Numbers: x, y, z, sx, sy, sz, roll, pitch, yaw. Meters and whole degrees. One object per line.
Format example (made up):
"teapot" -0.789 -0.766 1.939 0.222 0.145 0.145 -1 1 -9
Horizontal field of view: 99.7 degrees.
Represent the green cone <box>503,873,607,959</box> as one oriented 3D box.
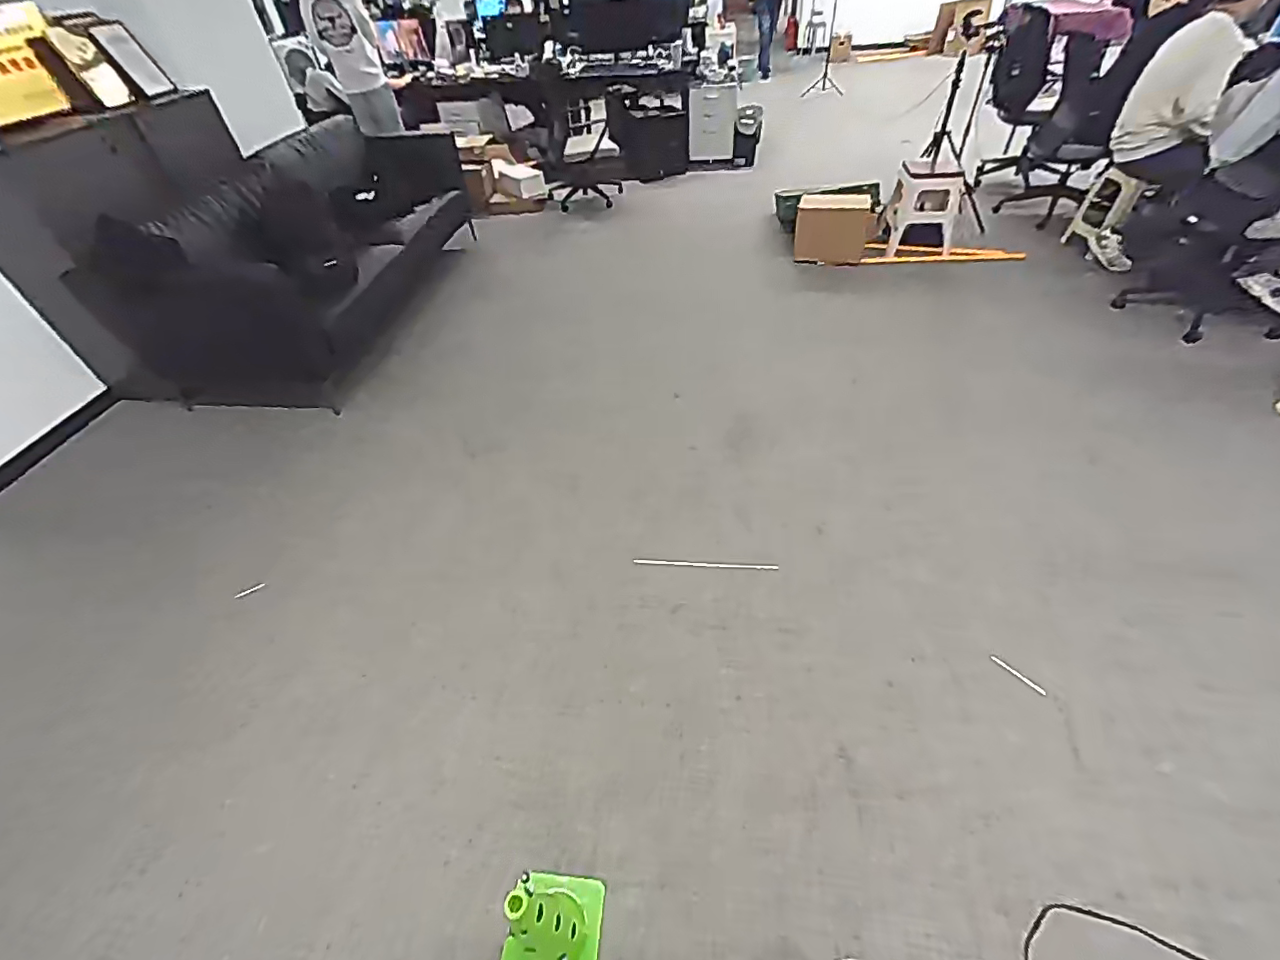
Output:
"green cone" -0.188 0.844 1.027 0.202 0.368 0.200 2 45 6
